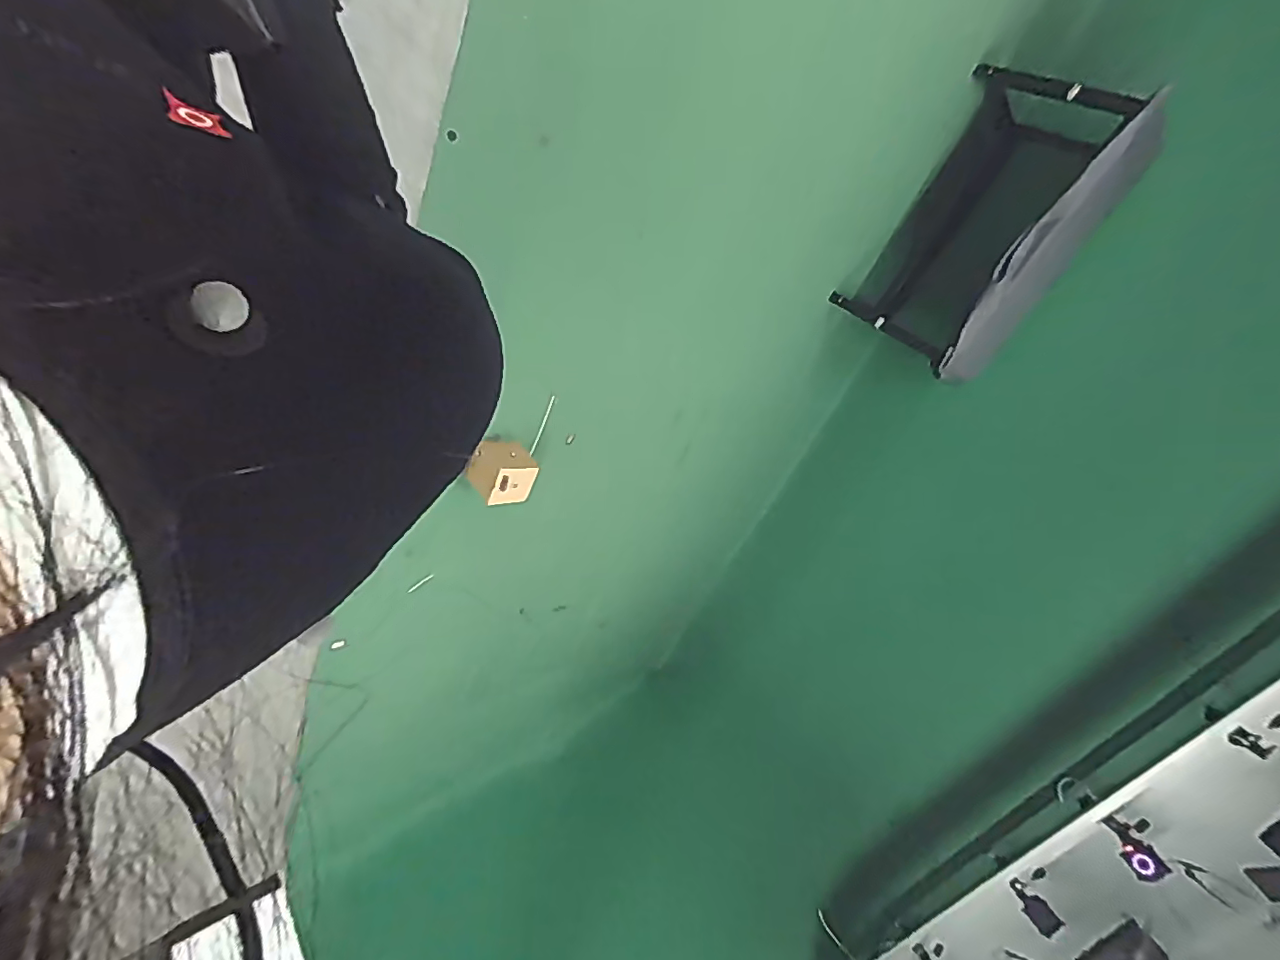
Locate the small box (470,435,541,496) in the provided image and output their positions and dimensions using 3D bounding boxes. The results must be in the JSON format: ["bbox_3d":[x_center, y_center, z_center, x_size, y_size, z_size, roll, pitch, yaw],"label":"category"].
[{"bbox_3d":[-0.509,-0.057,2.031,0.179,0.176,0.168,-5,131,-49],"label":"small box"}]
